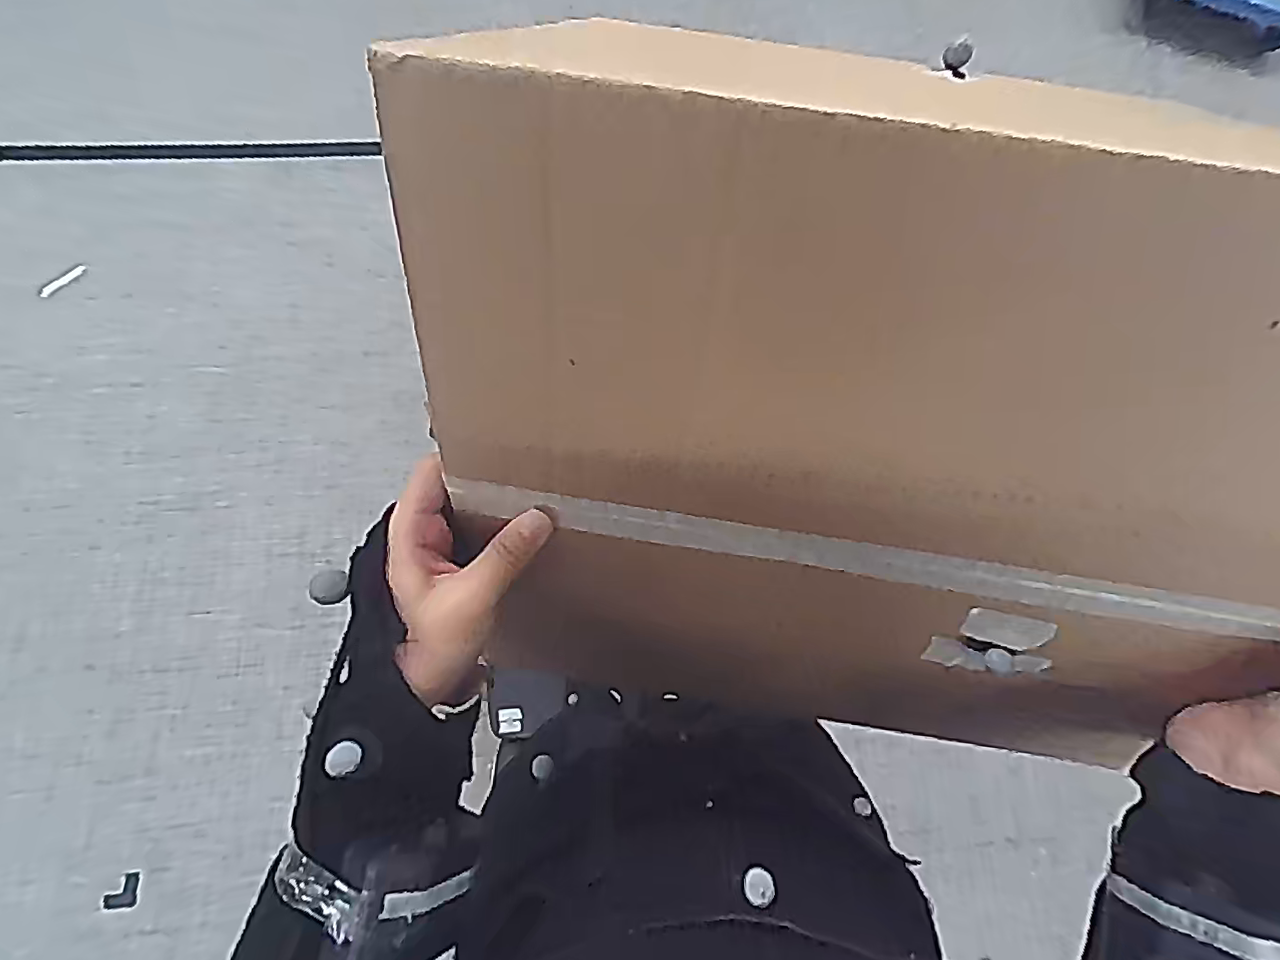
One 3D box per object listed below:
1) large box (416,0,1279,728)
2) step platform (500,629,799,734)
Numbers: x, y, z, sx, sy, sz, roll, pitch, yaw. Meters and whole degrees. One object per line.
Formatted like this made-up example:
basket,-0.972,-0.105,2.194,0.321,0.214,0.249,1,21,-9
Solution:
large box,0.139,-0.088,0.344,0.408,0.320,0.320,8,42,1
step platform,0.022,0.420,1.272,0.684,0.204,0.286,4,78,-3
